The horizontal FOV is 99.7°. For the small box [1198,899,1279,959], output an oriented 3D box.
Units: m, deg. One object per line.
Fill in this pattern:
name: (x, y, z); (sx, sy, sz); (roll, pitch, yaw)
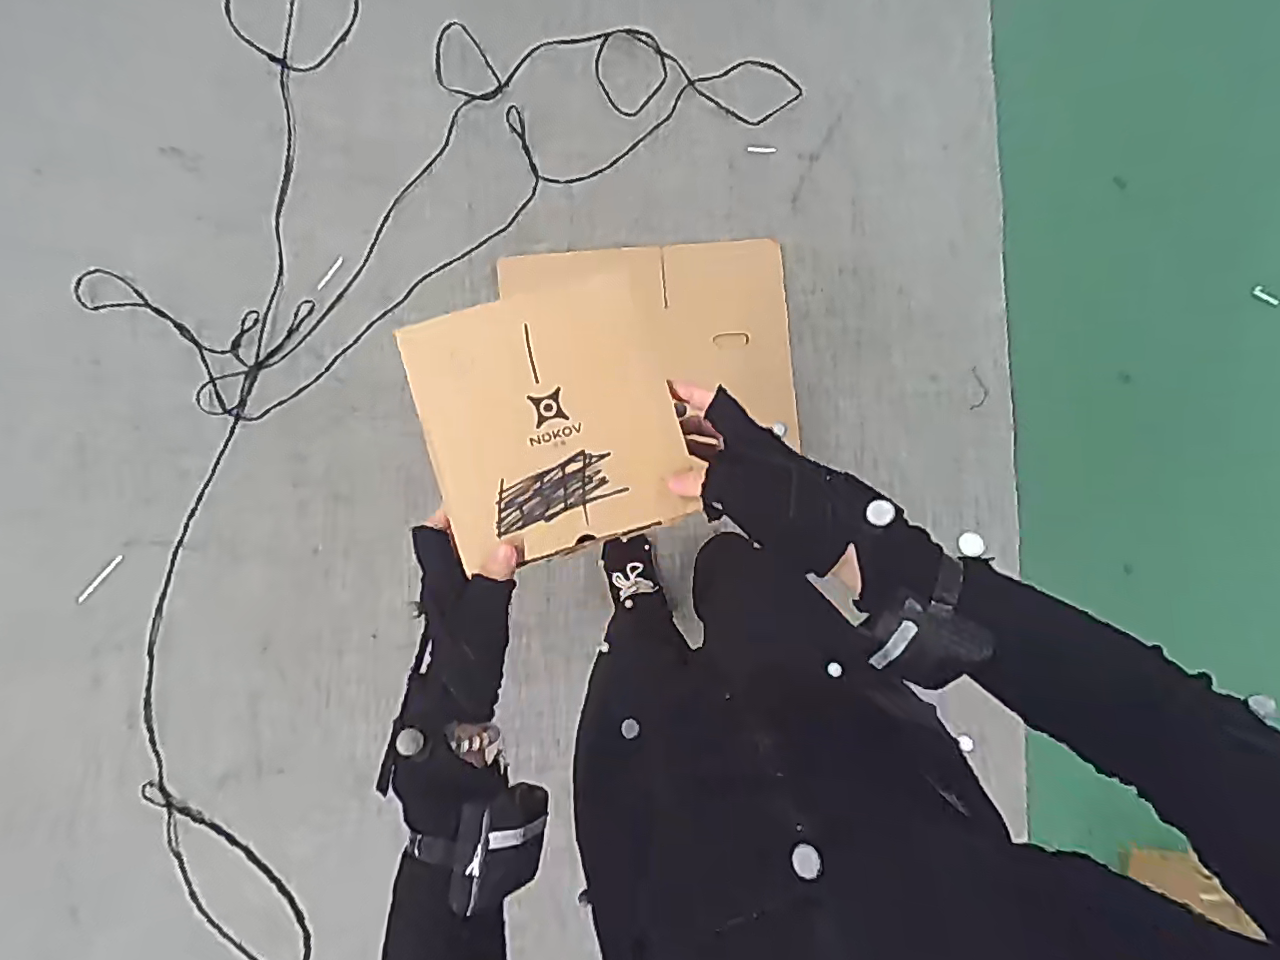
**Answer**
small box: (1.316, 1.009, 1.115); (0.168, 0.176, 0.179); (2, 90, -2)

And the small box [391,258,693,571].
small box: (-0.064, -0.044, 0.437); (0.168, 0.176, 0.179); (-17, 90, -2)
